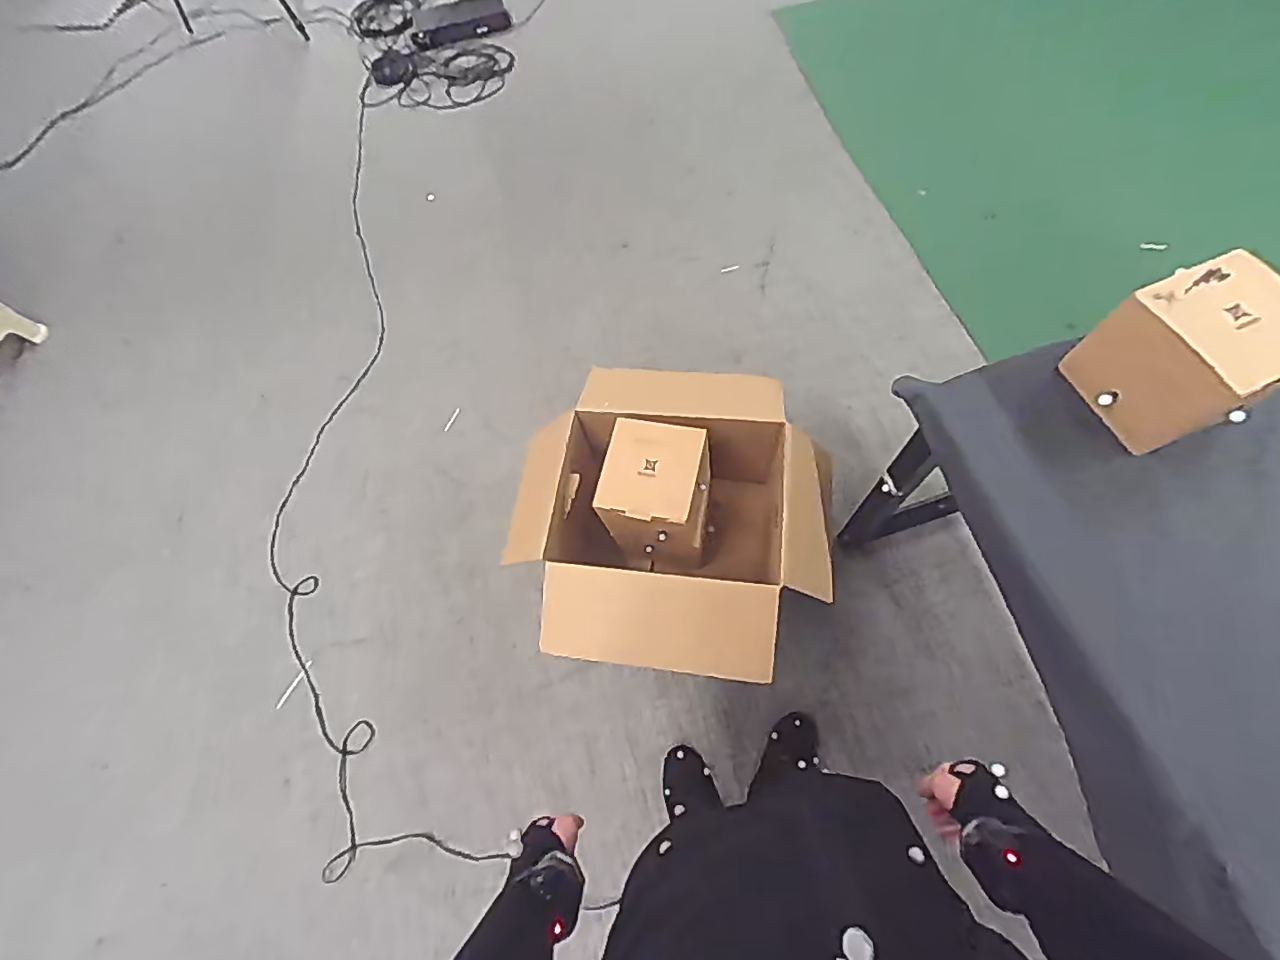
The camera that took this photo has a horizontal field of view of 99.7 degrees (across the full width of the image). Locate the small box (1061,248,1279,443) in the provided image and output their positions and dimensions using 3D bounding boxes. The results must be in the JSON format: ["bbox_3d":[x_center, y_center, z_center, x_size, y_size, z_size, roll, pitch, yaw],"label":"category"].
[{"bbox_3d":[0.742,-0.169,0.736,0.168,0.176,0.179,-22,68,-3],"label":"small box"}]
